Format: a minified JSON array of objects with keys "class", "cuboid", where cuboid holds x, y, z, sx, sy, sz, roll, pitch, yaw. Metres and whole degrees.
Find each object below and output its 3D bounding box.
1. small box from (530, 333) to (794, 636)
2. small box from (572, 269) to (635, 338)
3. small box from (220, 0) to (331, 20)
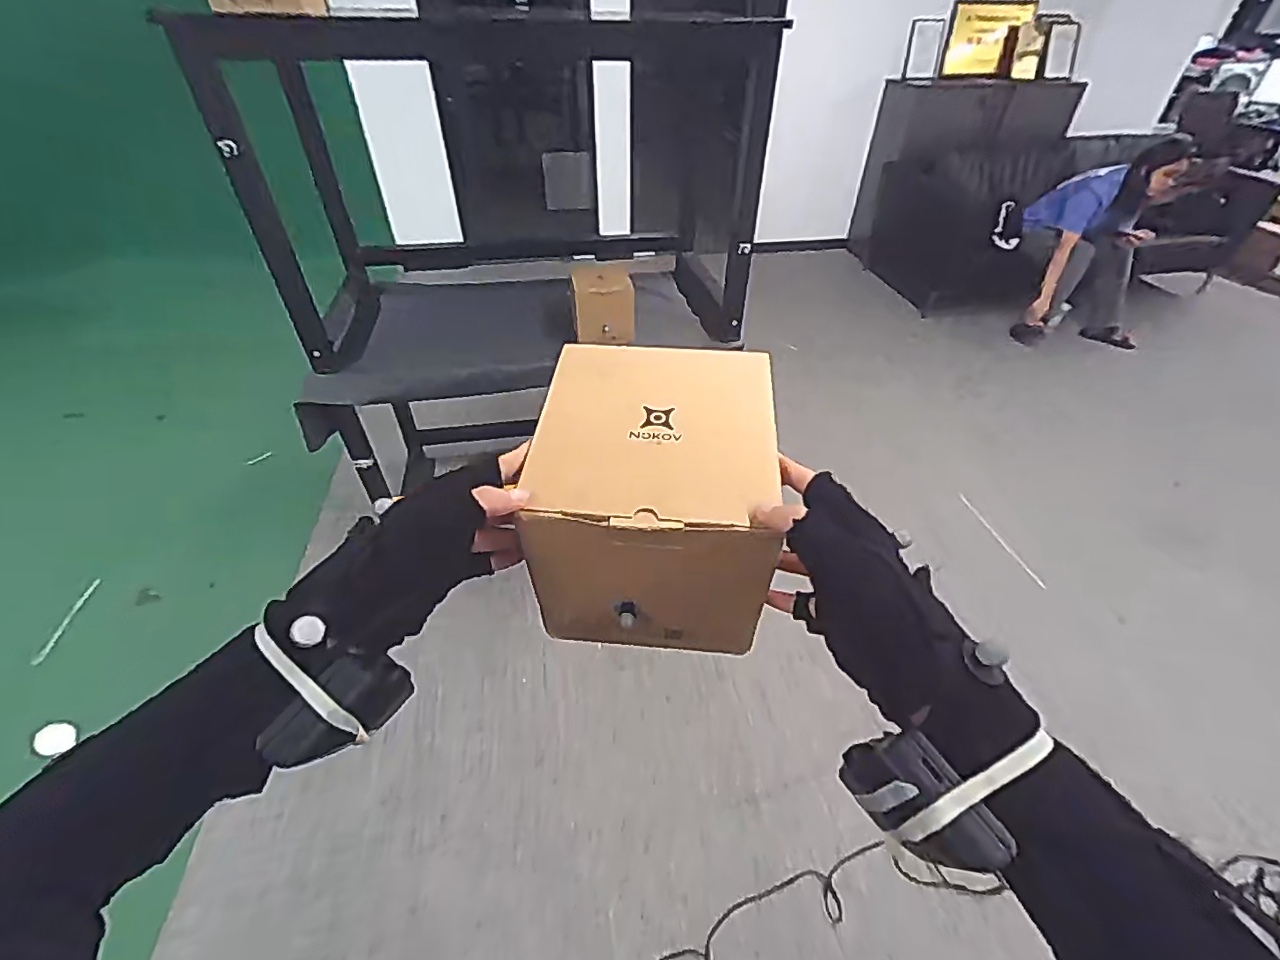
[{"class":"small box","cuboid":[0.019,0.003,0.442,0.168,0.176,0.179,3,48,4]},{"class":"small box","cuboid":[-0.109,-0.512,1.606,0.168,0.176,0.179,-7,41,-8]},{"class":"small box","cuboid":[-0.720,-0.995,1.035,0.168,0.176,0.179,-7,41,-10]}]
